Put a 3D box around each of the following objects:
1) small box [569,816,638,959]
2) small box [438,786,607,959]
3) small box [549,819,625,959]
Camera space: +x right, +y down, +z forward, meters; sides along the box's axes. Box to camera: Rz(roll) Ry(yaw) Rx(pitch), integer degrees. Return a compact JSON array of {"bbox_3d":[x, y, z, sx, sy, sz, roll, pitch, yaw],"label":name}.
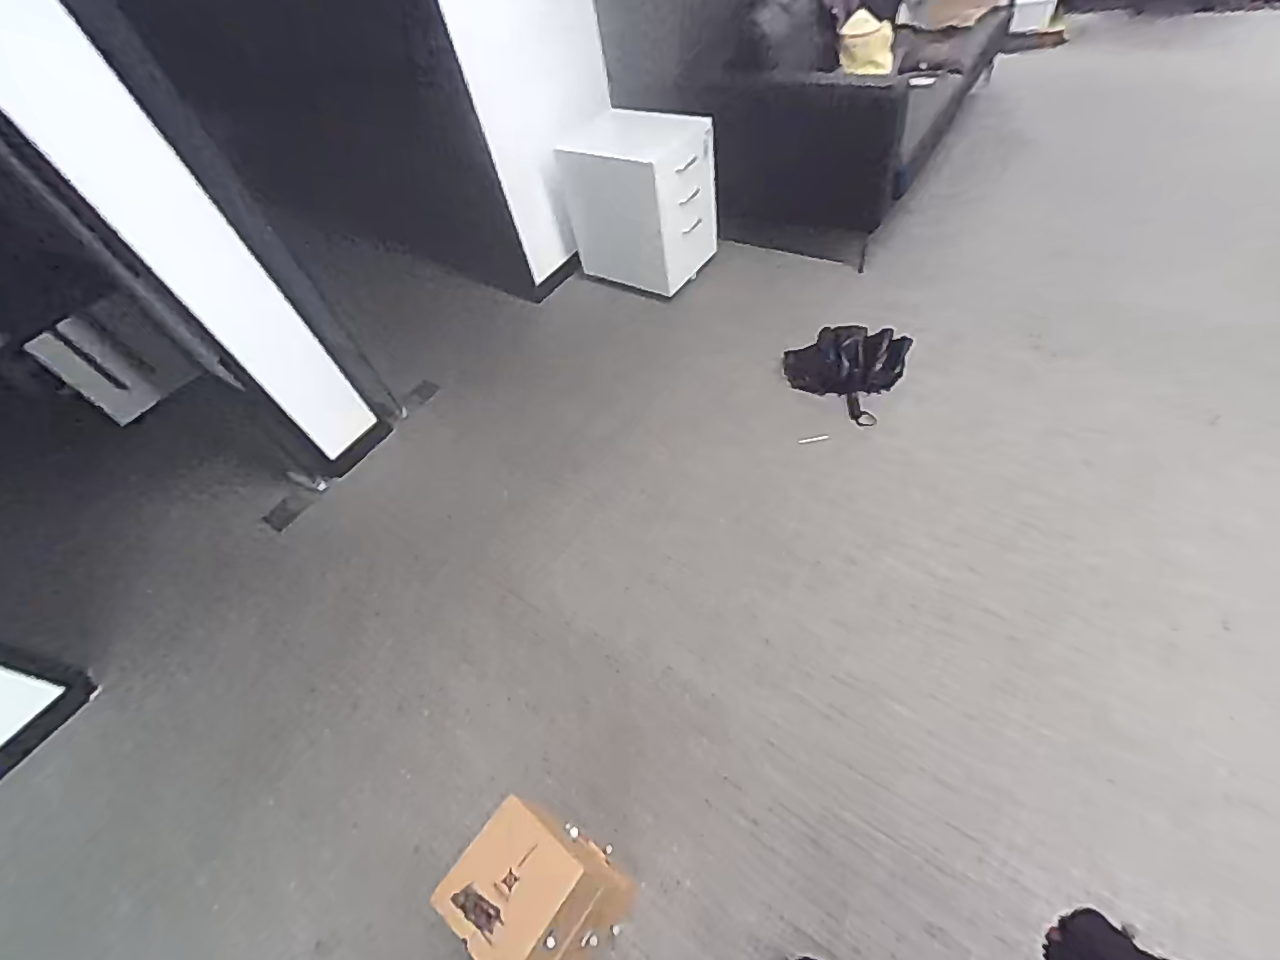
[{"bbox_3d":[-0.120,0.836,1.111,0.168,0.176,0.179,29,63,29],"label":"small box"},{"bbox_3d":[-0.175,0.632,0.861,0.168,0.176,0.179,29,64,29],"label":"small box"},{"bbox_3d":[-0.151,0.736,0.986,0.179,0.176,0.168,28,64,28],"label":"small box"}]
